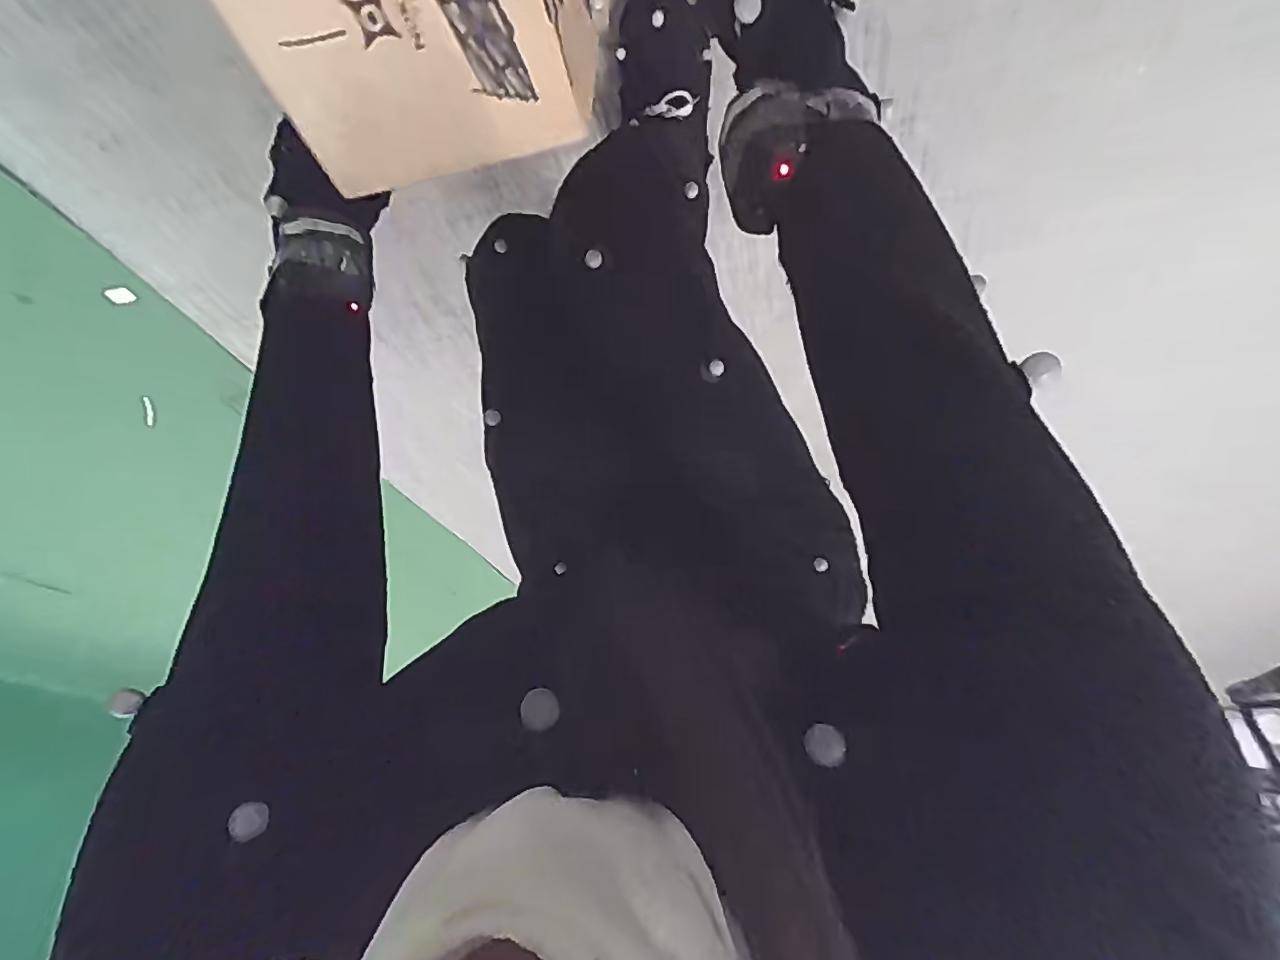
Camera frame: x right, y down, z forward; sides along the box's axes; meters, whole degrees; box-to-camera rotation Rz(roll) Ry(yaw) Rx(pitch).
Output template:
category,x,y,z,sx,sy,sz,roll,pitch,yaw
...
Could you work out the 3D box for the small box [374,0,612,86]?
category,x,y,z,sx,sy,sz,roll,pitch,yaw
small box,-0.125,-0.456,0.423,0.179,0.176,0.168,-7,145,11
